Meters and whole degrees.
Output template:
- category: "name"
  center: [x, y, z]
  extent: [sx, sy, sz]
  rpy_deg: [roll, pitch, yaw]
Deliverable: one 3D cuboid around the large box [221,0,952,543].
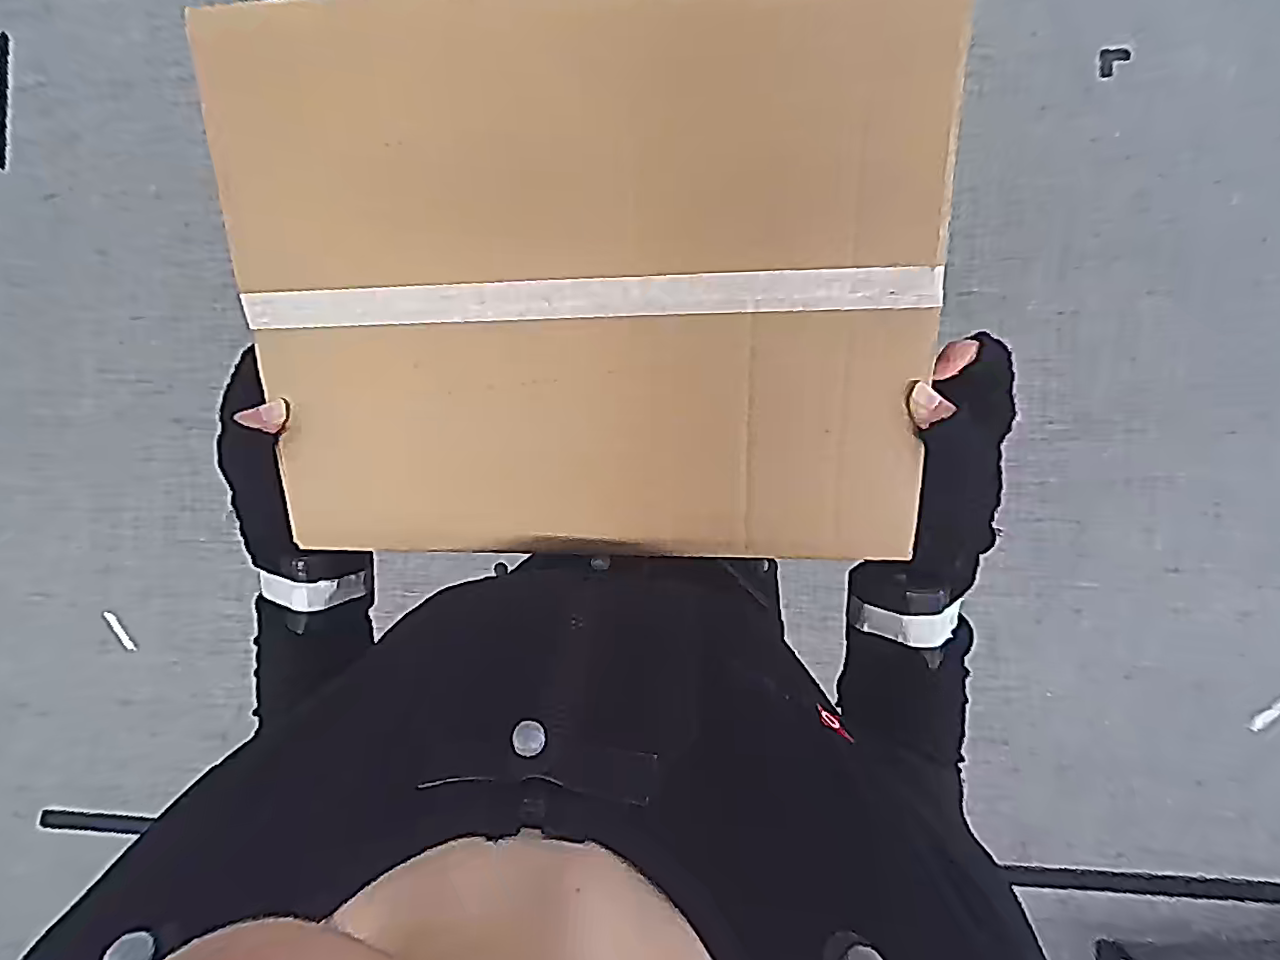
- category: "large box"
  center: [-0.024, -0.144, 0.465]
  extent: [0.408, 0.320, 0.320]
  rpy_deg: [0, 106, 6]
